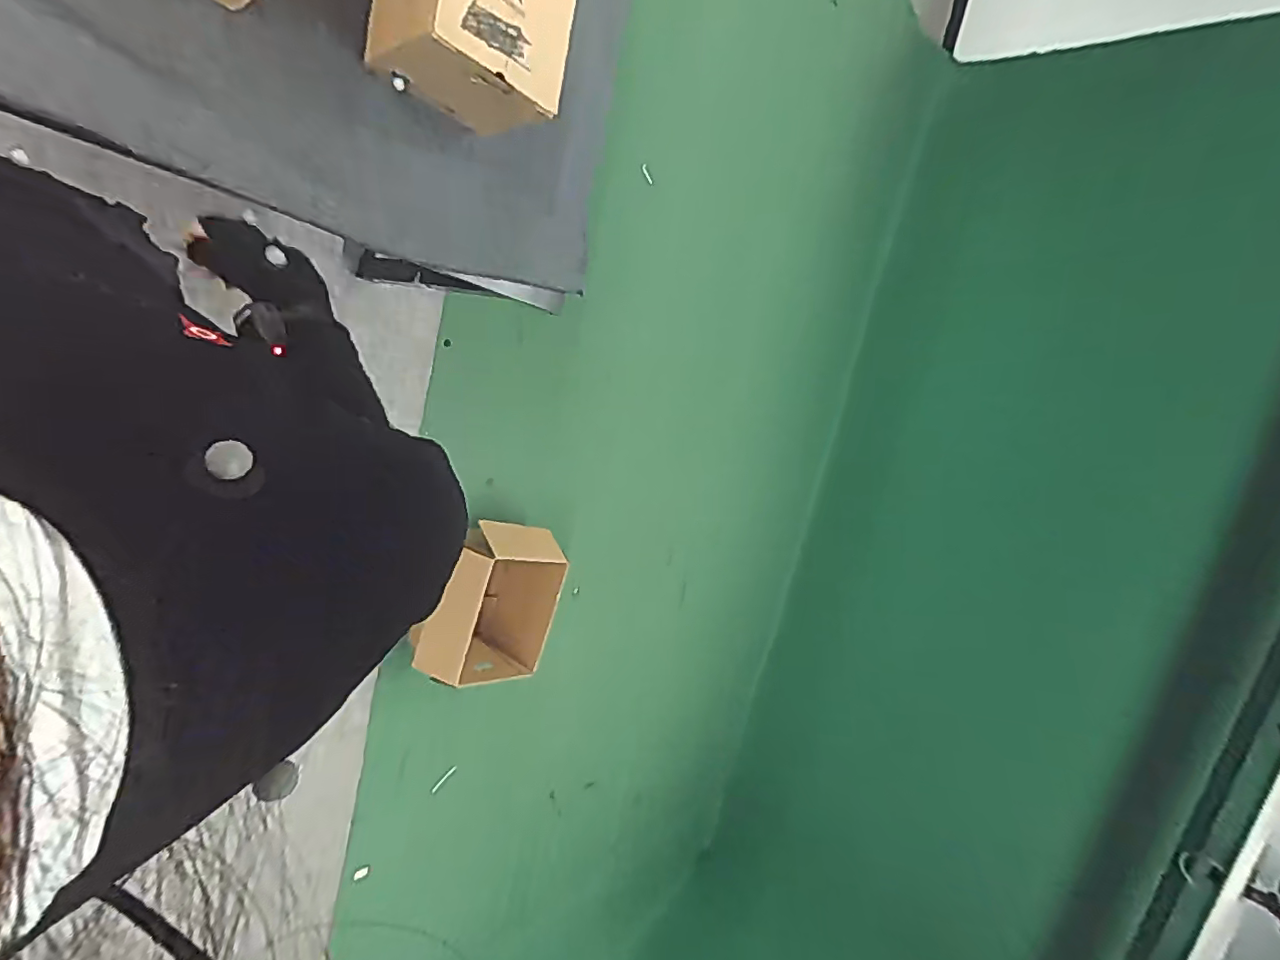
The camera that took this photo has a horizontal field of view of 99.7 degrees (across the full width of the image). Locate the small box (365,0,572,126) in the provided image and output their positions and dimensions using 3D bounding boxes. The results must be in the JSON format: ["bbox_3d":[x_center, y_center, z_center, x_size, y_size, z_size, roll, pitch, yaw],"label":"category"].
[{"bbox_3d":[-0.204,-0.556,0.643,0.168,0.176,0.179,0,105,-51],"label":"small box"}]
